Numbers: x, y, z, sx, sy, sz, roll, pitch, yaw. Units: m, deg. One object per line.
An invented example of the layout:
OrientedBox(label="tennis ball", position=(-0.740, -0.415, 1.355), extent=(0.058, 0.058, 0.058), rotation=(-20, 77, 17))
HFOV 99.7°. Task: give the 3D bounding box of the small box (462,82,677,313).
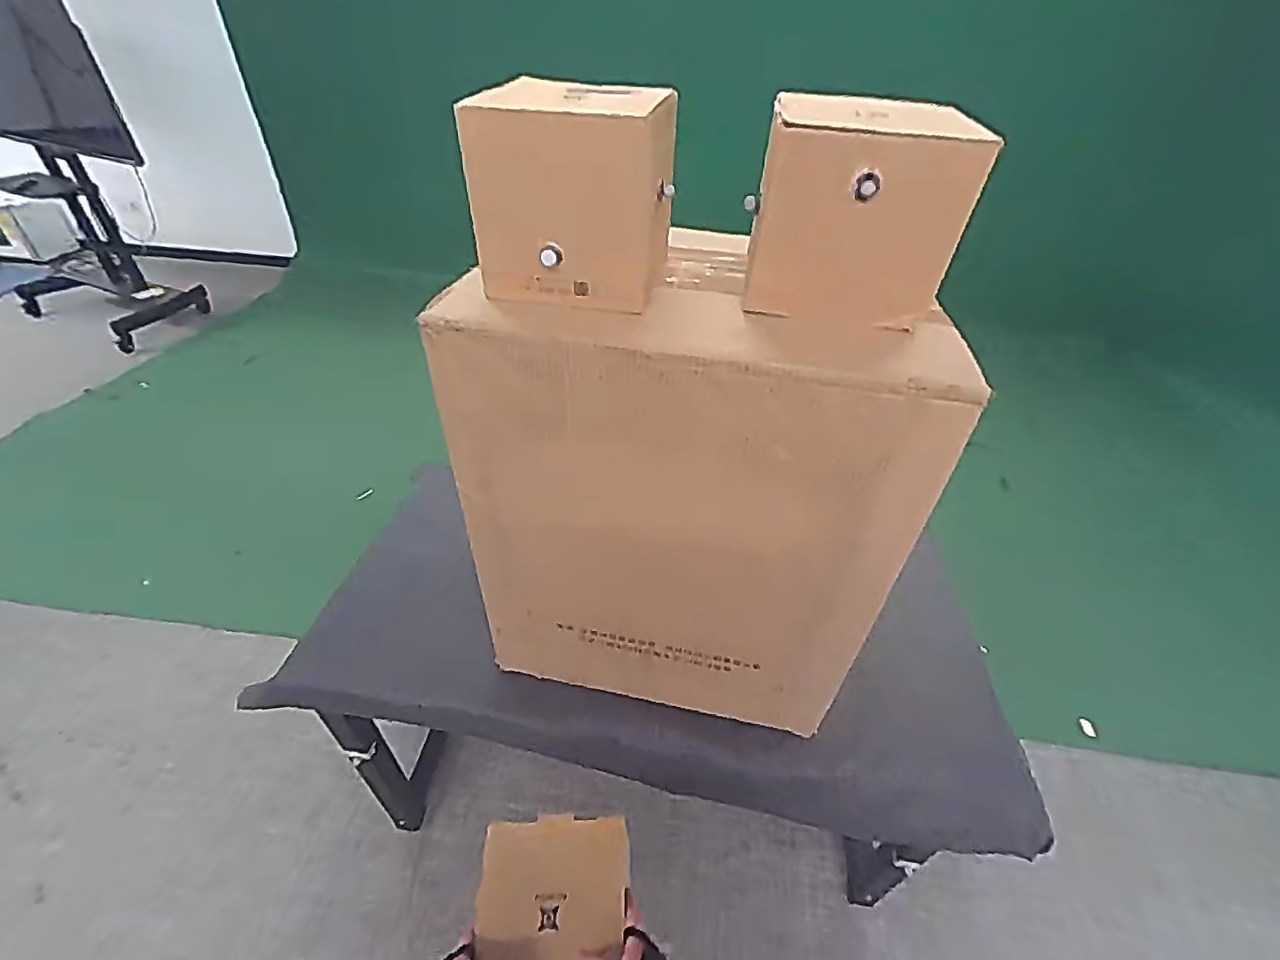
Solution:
OrientedBox(label="small box", position=(-0.060, -0.294, 0.559), extent=(0.168, 0.176, 0.179), rotation=(8, 43, 7))

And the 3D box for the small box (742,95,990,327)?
OrientedBox(label="small box", position=(0.205, -0.273, 0.550), extent=(0.179, 0.176, 0.168), rotation=(10, 43, 4))
